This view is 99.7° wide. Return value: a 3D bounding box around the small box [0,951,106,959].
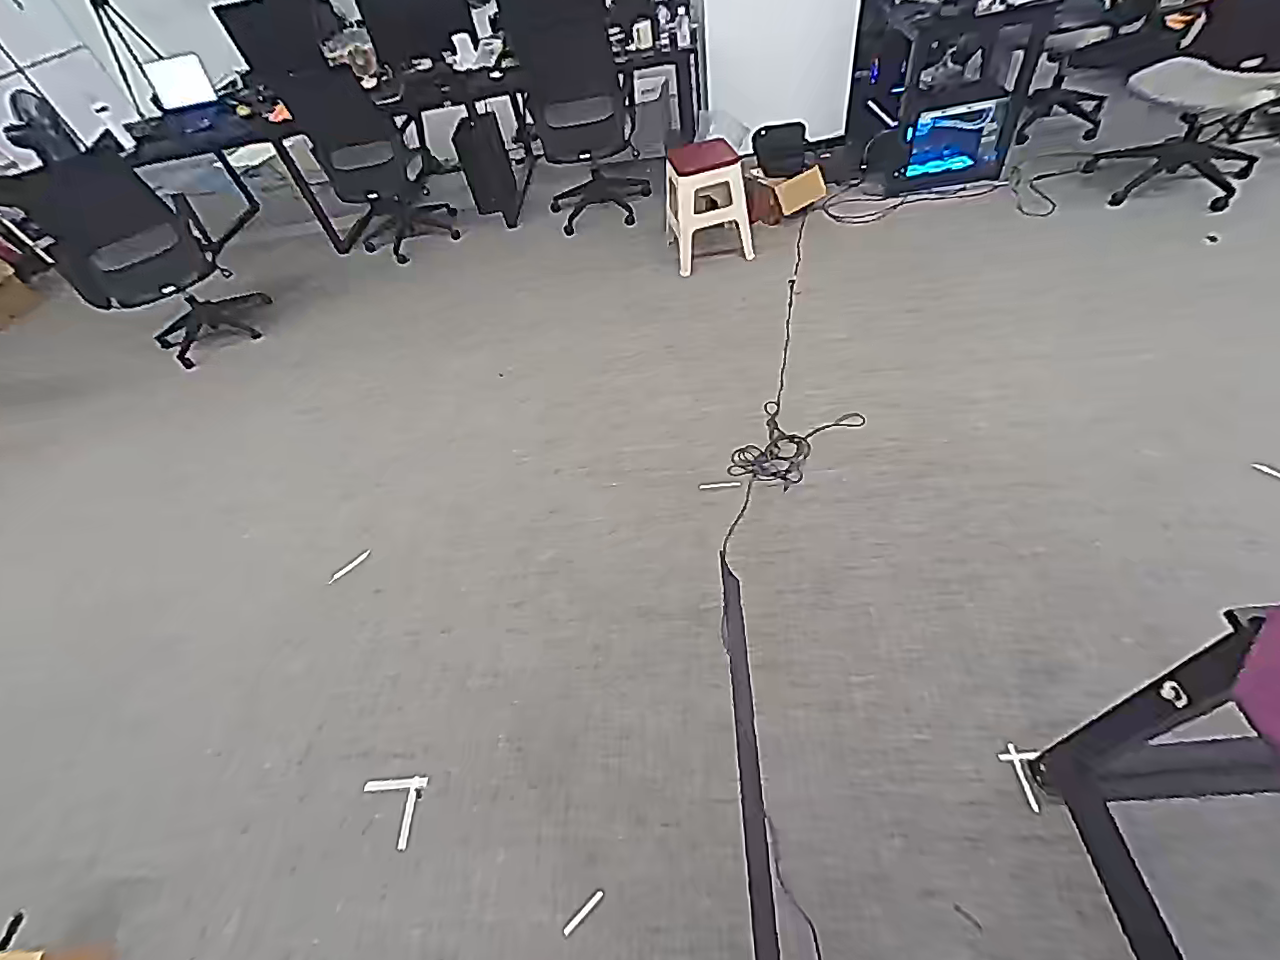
[{"bbox_3d":[-1.338,1.131,1.167,0.179,0.176,0.168,-8,49,6],"label":"small box"}]
